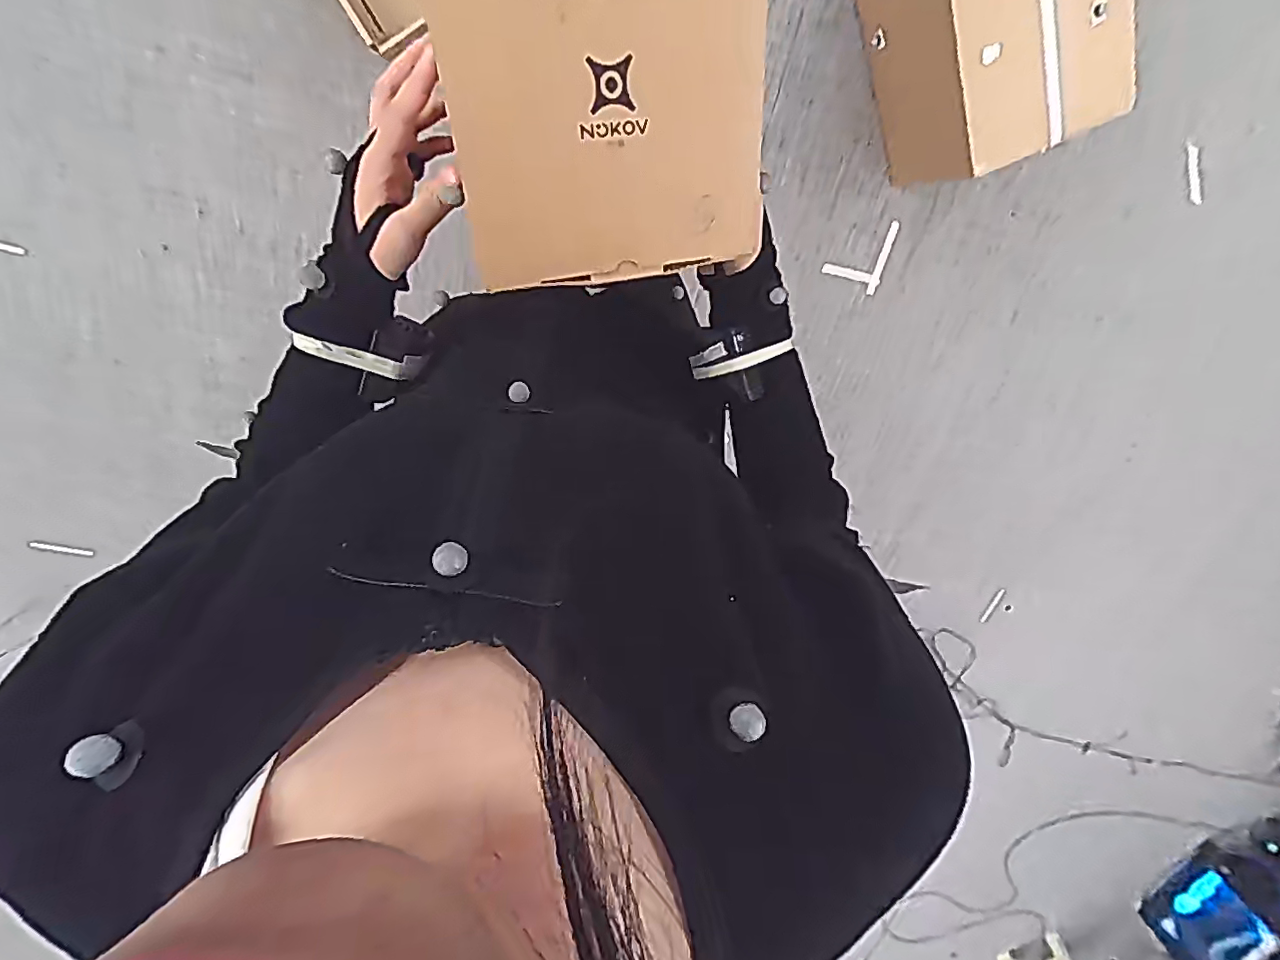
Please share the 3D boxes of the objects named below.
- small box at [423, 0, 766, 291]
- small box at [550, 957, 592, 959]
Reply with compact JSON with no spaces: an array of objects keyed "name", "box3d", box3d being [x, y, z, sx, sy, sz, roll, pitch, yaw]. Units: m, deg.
[{"name":"small box","box3d":[-0.033,-0.237,0.340,0.168,0.176,0.179,-13,124,-10]},{"name":"small box","box3d":[-0.154,1.249,1.253,0.168,0.176,0.179,11,114,-11]}]
